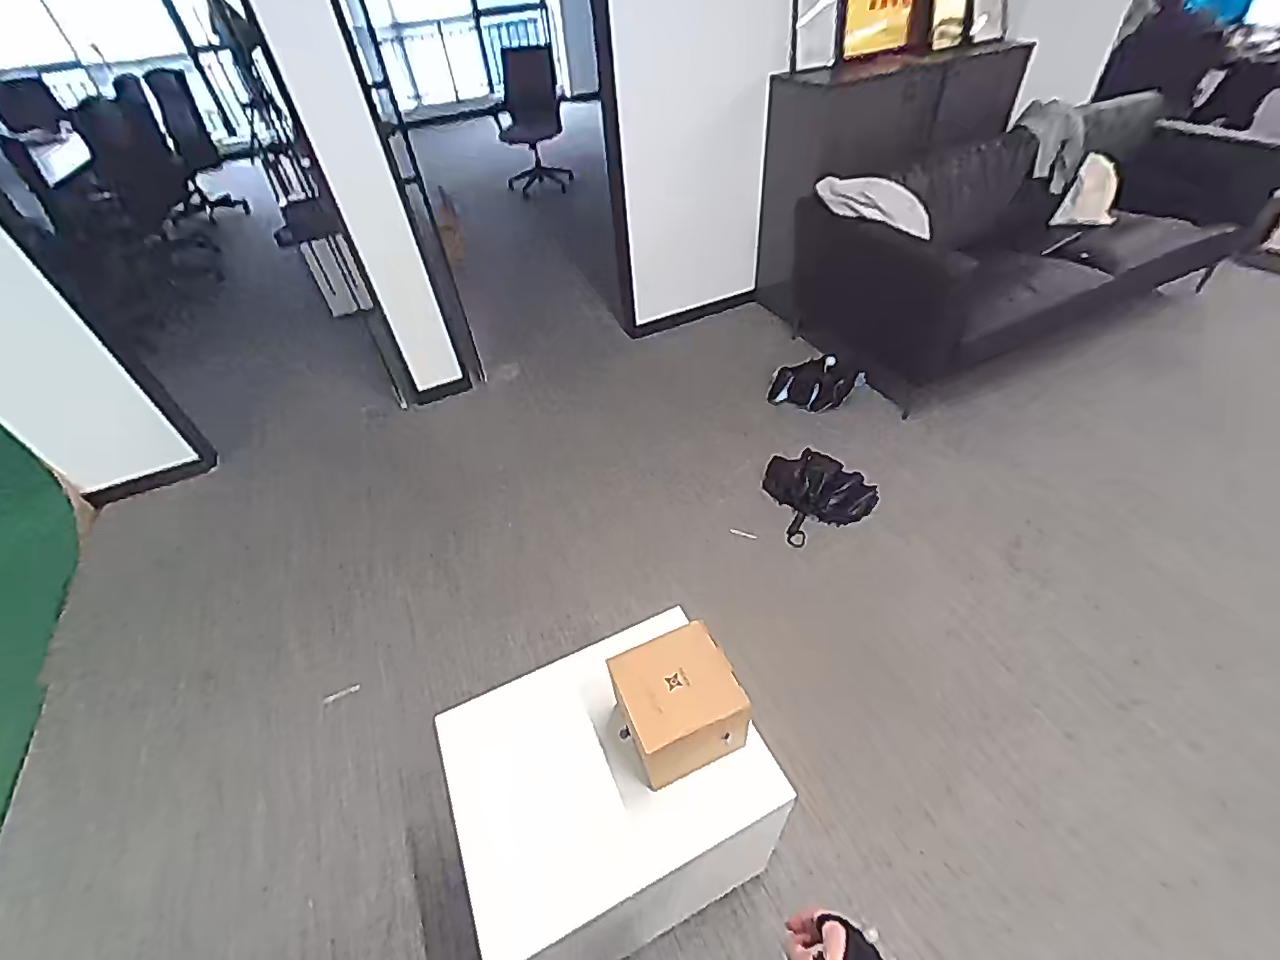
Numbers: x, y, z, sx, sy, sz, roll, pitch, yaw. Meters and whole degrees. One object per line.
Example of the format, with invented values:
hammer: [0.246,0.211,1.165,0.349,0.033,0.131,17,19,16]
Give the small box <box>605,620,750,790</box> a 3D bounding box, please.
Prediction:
small box: [0.060,0.368,0.886,0.179,0.176,0.168,-21,45,-13]
